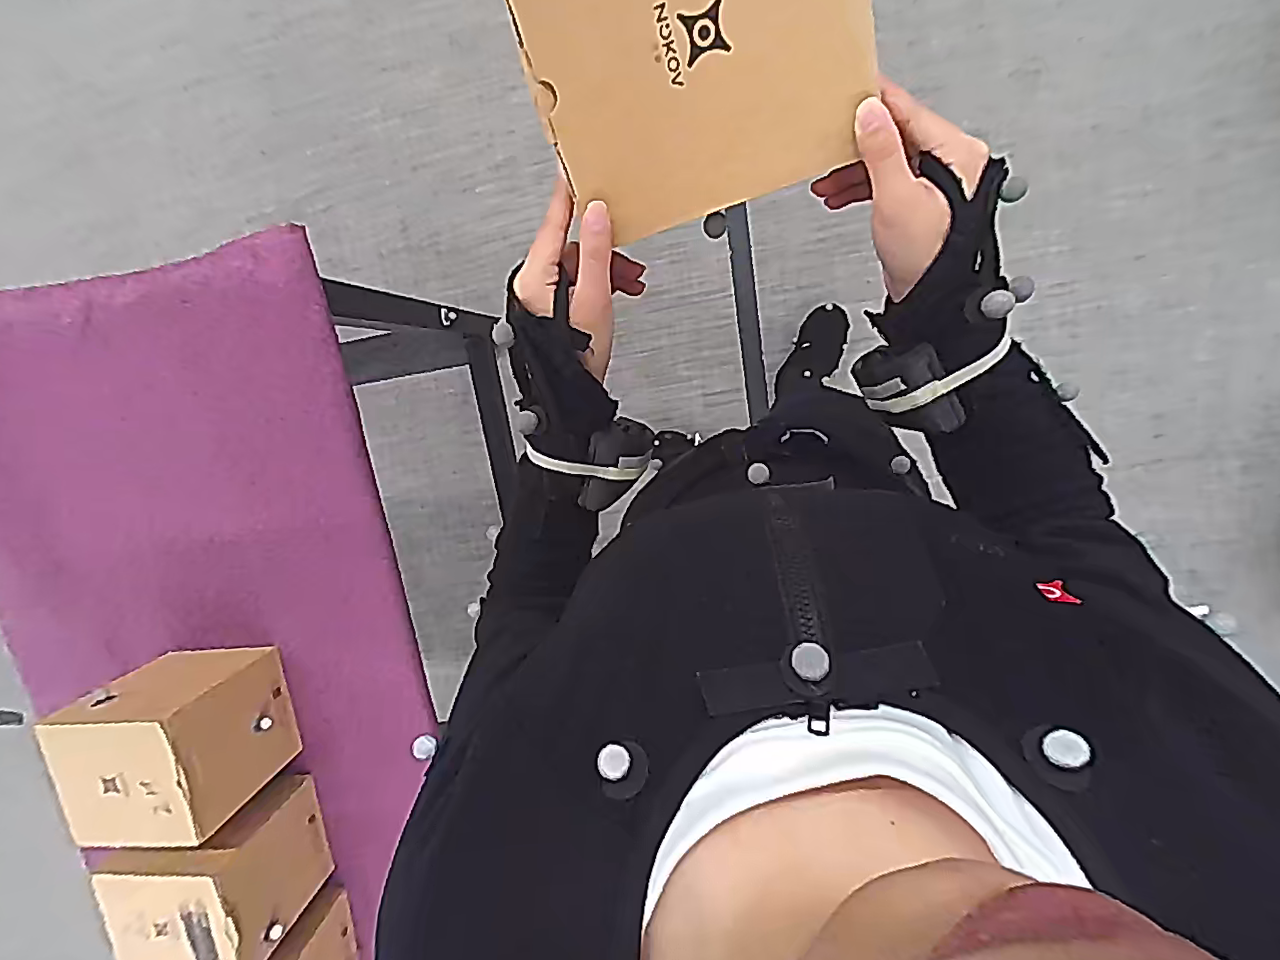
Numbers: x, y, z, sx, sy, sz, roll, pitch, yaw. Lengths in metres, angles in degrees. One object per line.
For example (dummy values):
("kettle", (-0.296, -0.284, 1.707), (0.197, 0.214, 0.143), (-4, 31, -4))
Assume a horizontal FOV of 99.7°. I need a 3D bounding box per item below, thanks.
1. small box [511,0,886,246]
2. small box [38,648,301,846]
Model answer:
("small box", (0.030, -0.268, 0.344), (0.179, 0.176, 0.168), (-15, 117, 10))
("small box", (-0.591, 0.335, 0.703), (0.179, 0.176, 0.168), (-5, 101, 8))
